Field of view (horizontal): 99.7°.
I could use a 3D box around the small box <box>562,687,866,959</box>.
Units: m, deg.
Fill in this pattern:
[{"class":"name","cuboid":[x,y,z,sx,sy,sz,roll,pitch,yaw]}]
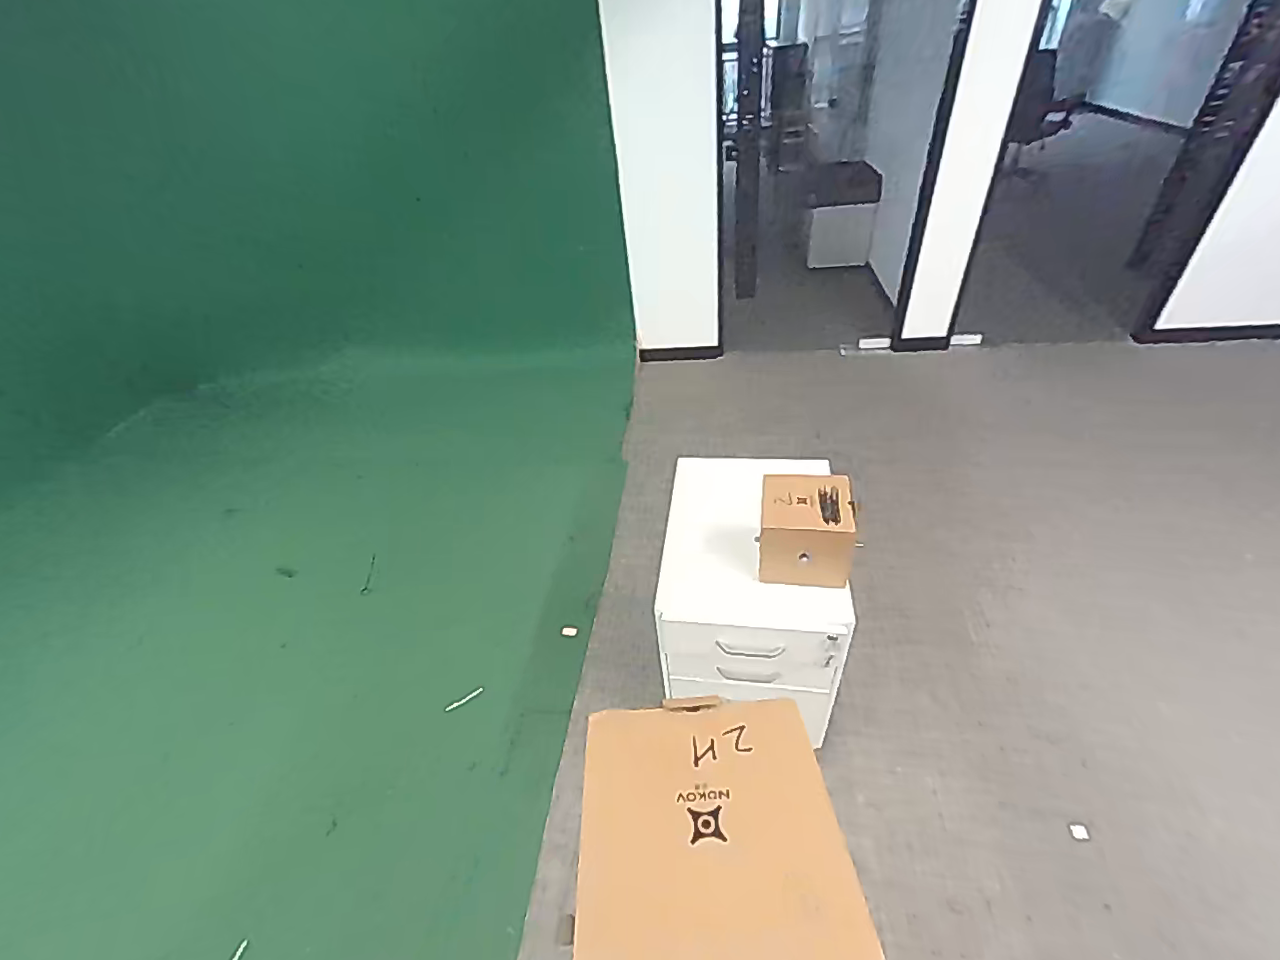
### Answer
[{"class":"small box","cuboid":[0.044,0.282,0.394,0.168,0.176,0.179,-3,27,1]}]
